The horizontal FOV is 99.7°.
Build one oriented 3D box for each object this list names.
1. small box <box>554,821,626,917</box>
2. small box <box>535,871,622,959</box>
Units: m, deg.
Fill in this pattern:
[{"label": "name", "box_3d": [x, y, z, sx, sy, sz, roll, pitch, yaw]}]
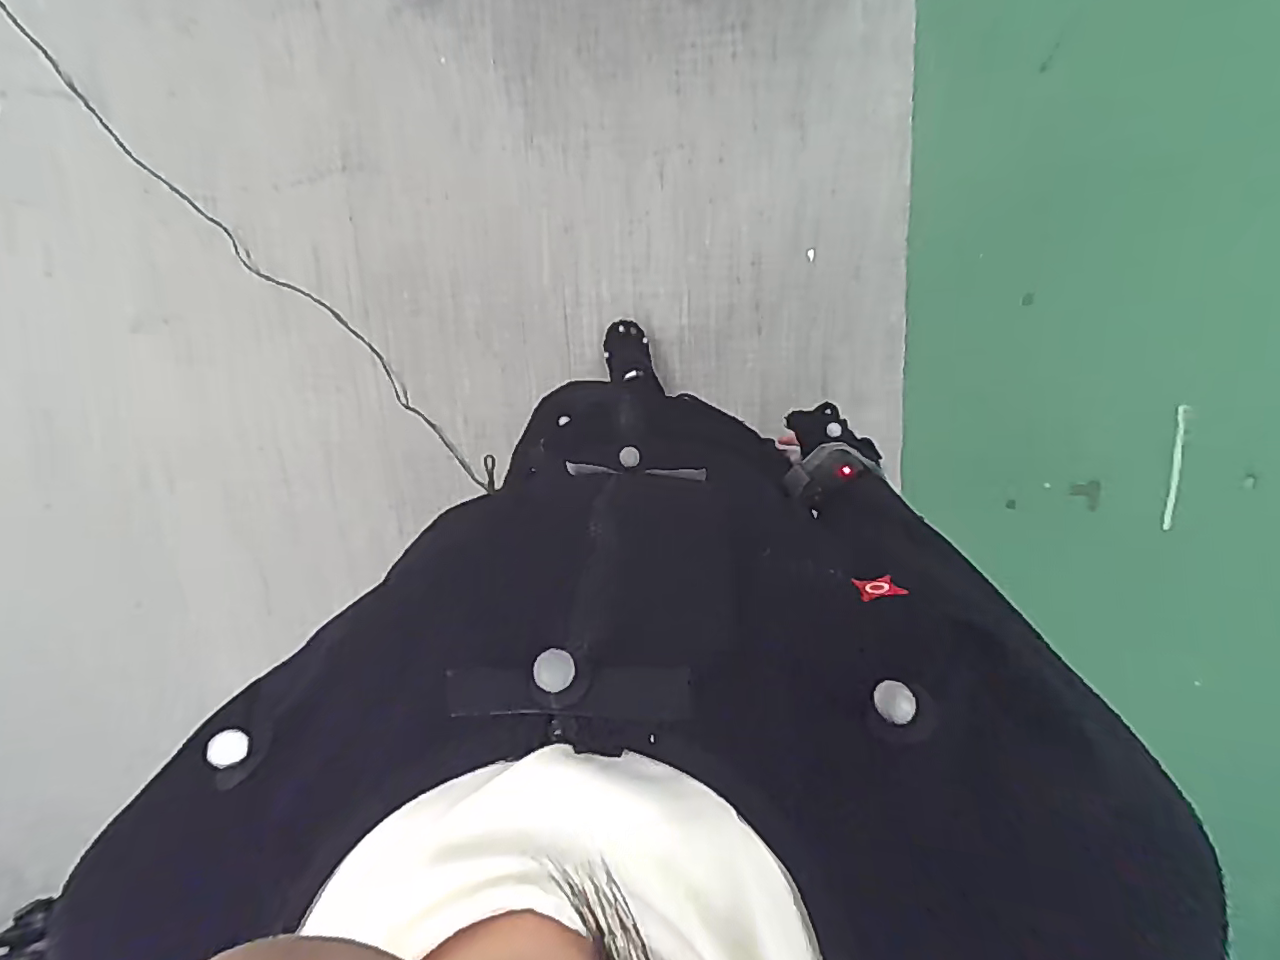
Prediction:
[{"label": "small box", "box_3d": [-0.135, 1.107, 1.543, 0.179, 0.176, 0.168, -6, 103, 4]}, {"label": "small box", "box_3d": [-0.149, 1.128, 1.363, 0.179, 0.176, 0.168, -8, 102, 4]}]
